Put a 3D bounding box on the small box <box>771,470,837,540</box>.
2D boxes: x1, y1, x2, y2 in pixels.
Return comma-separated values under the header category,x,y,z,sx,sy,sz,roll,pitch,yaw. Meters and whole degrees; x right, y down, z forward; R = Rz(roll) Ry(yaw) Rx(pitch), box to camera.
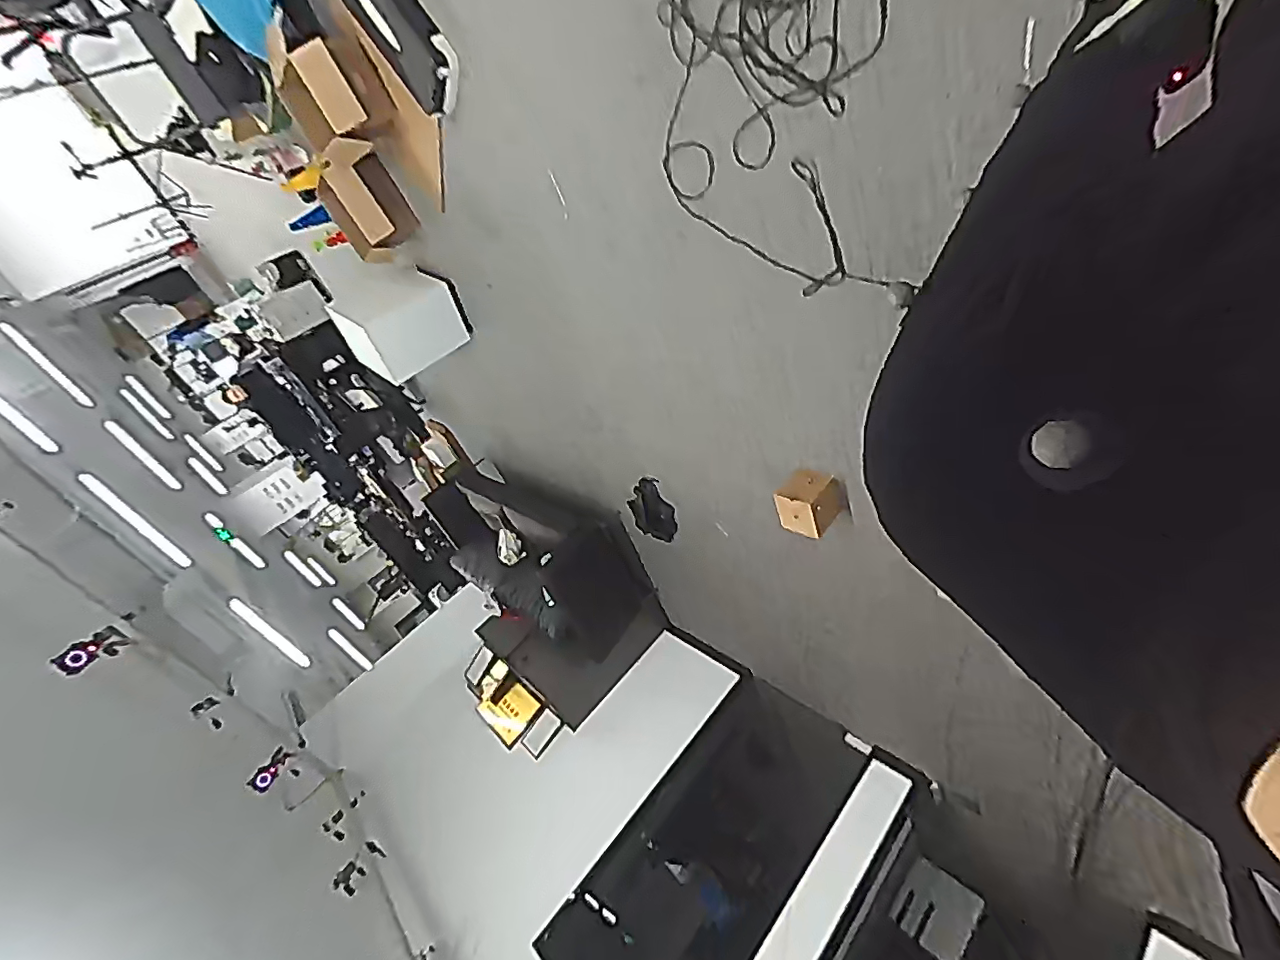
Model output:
category,x,y,z,sx,sy,sz,roll,pitch,yaw
small box,0.629,0.091,2.056,0.168,0.176,0.179,18,141,48
